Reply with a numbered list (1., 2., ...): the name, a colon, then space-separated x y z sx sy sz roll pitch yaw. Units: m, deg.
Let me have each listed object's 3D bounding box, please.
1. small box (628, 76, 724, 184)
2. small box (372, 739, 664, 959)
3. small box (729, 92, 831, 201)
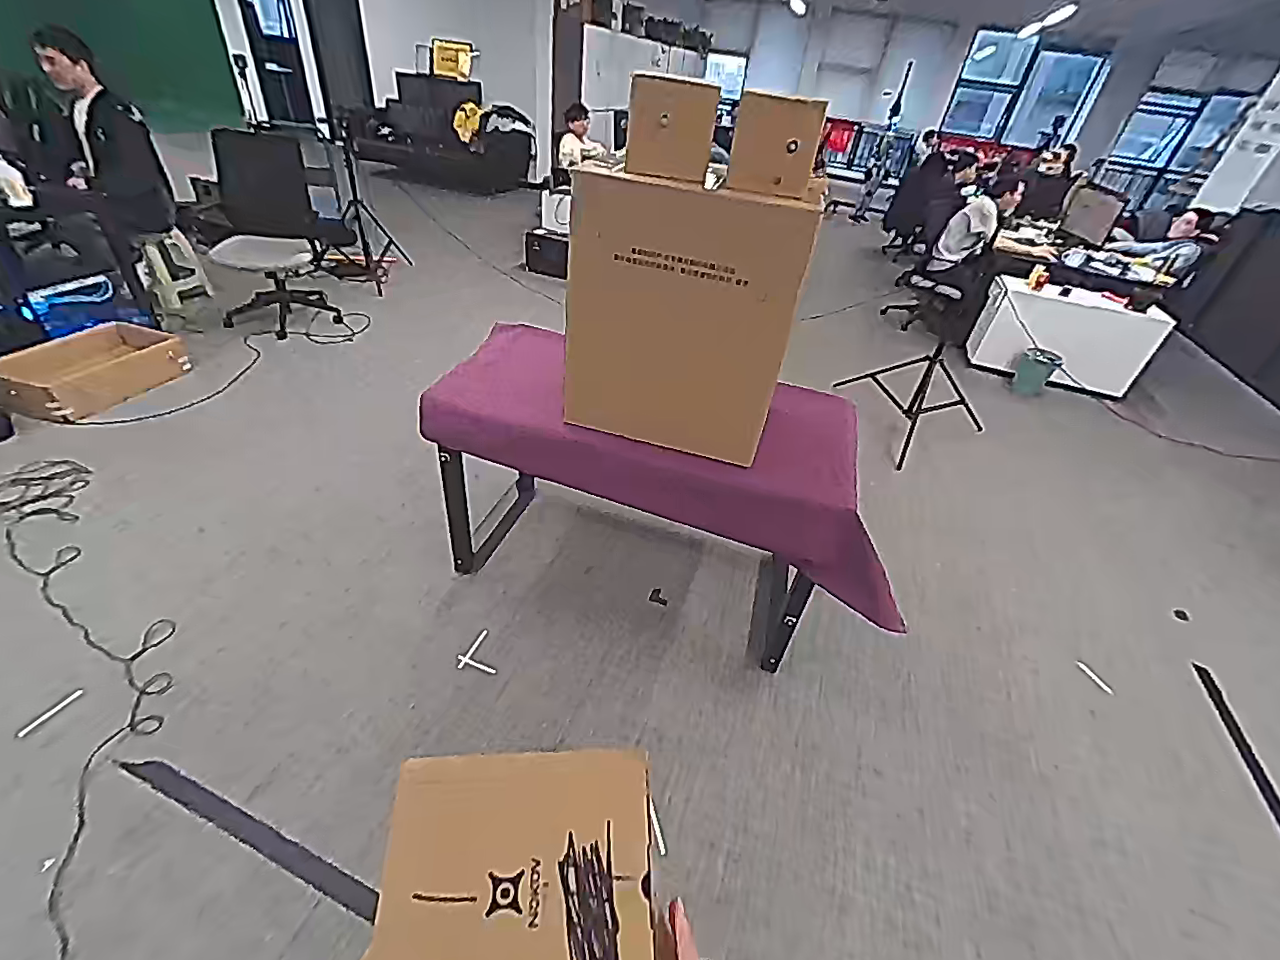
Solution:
1. small box: 0.070 -0.739 1.143 0.179 0.176 0.168 6 39 -3
2. small box: -0.080 0.299 0.413 0.179 0.176 0.168 0 57 -5
3. small box: 0.288 -0.691 1.120 0.168 0.176 0.179 15 37 8
